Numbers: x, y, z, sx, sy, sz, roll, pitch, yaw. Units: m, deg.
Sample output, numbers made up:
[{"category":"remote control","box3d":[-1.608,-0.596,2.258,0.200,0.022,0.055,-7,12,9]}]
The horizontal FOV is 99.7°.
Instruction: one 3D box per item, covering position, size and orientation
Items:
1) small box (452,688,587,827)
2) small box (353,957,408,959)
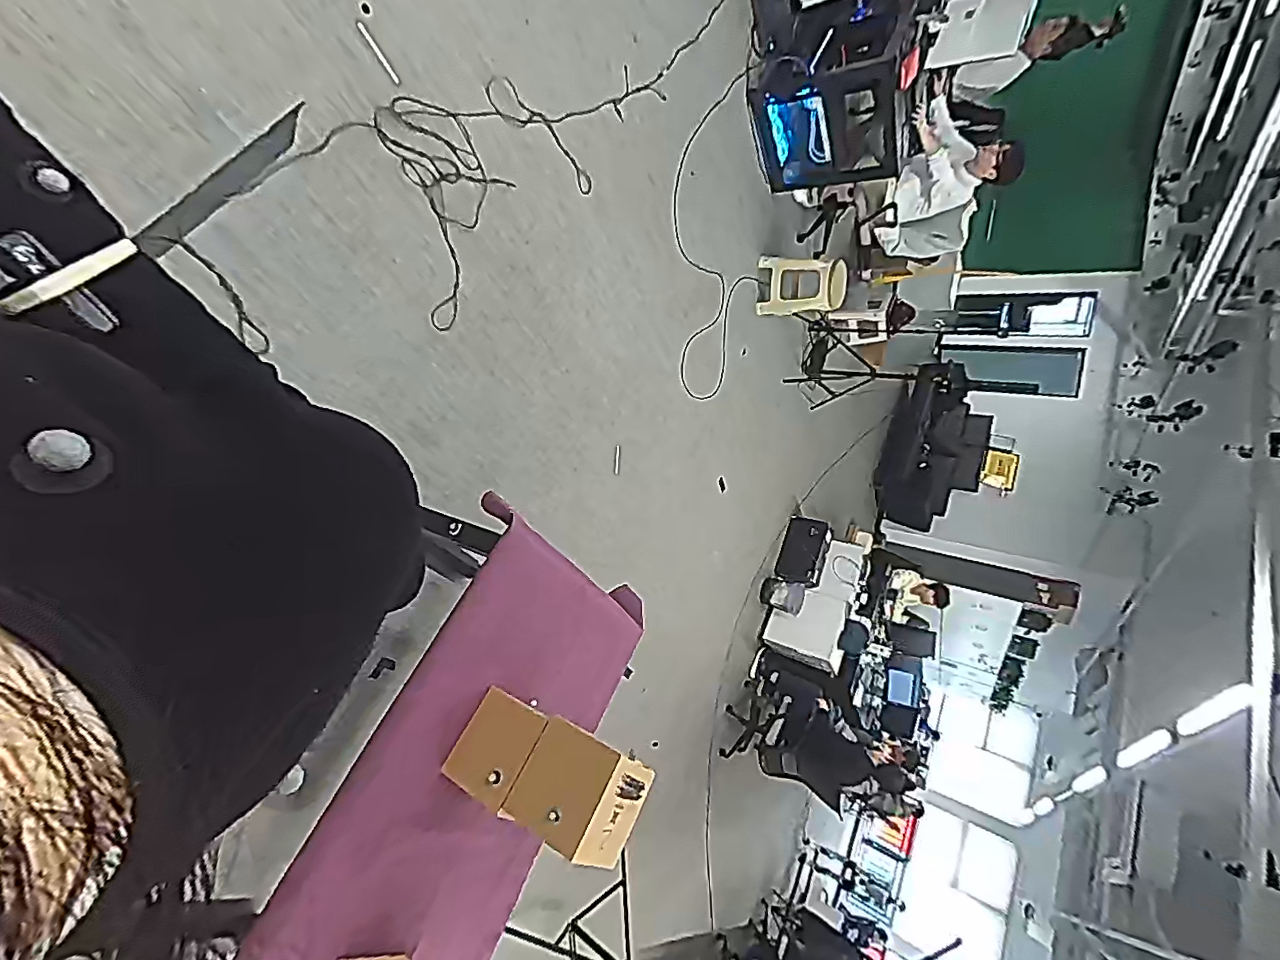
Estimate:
[{"category":"small box","box3d":[-0.243,0.548,1.075,0.179,0.176,0.168,-60,143,-25]},{"category":"small box","box3d":[-0.449,0.940,0.899,0.168,0.176,0.179,-61,142,-24]}]
